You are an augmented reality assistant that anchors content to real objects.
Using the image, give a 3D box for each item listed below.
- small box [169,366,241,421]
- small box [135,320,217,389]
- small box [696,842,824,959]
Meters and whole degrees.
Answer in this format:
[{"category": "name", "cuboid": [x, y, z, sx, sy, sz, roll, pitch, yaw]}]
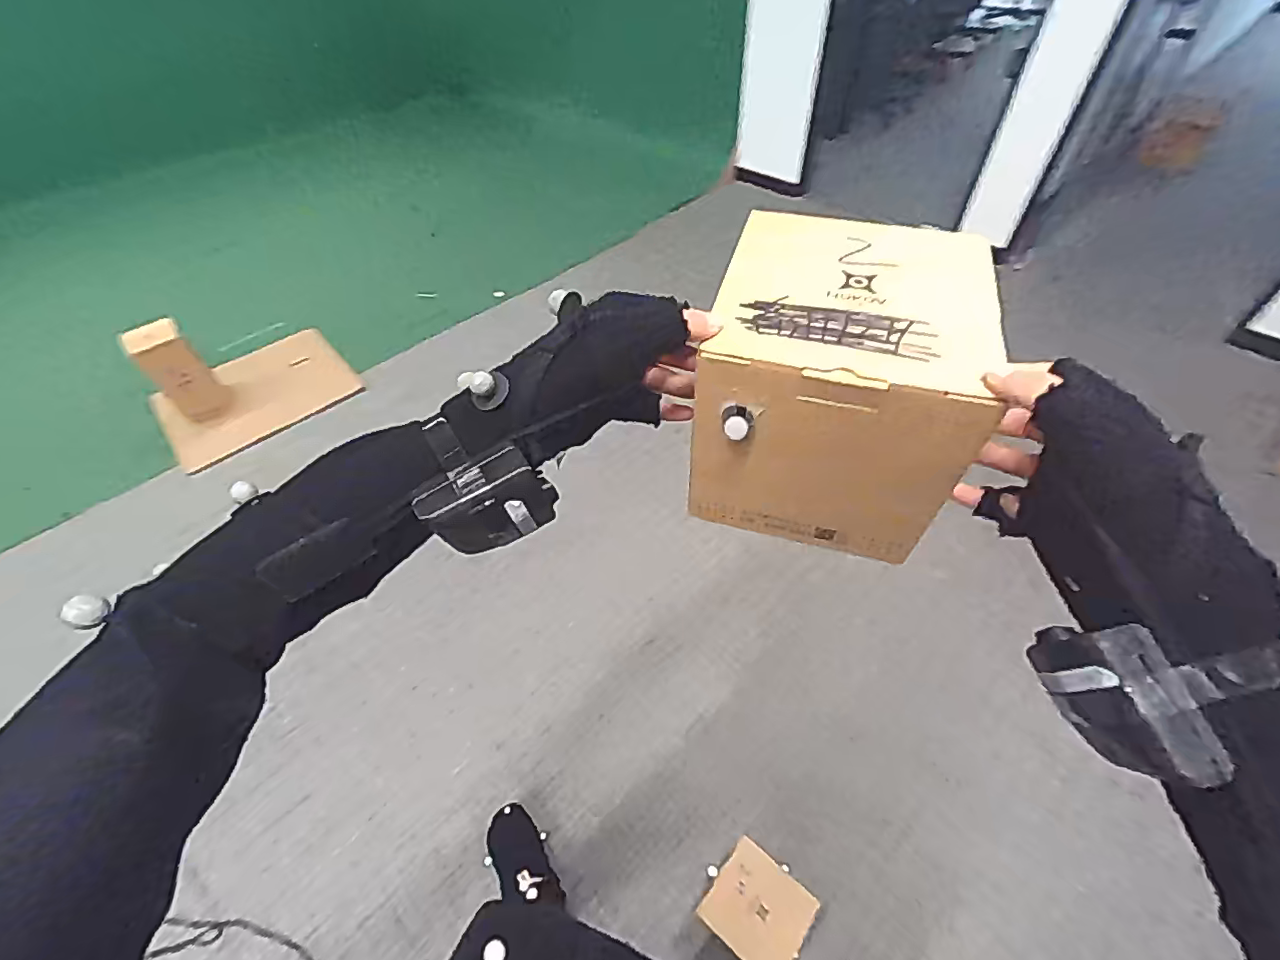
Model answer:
[{"category": "small box", "cuboid": [-1.758, -0.363, 2.183, 0.168, 0.176, 0.179, -35, 55, -22]}, {"category": "small box", "cuboid": [-1.770, -0.477, 2.067, 0.168, 0.176, 0.179, -33, 56, -22]}, {"category": "small box", "cuboid": [0.227, 0.859, 1.062, 0.179, 0.176, 0.168, 33, 58, 27]}]
